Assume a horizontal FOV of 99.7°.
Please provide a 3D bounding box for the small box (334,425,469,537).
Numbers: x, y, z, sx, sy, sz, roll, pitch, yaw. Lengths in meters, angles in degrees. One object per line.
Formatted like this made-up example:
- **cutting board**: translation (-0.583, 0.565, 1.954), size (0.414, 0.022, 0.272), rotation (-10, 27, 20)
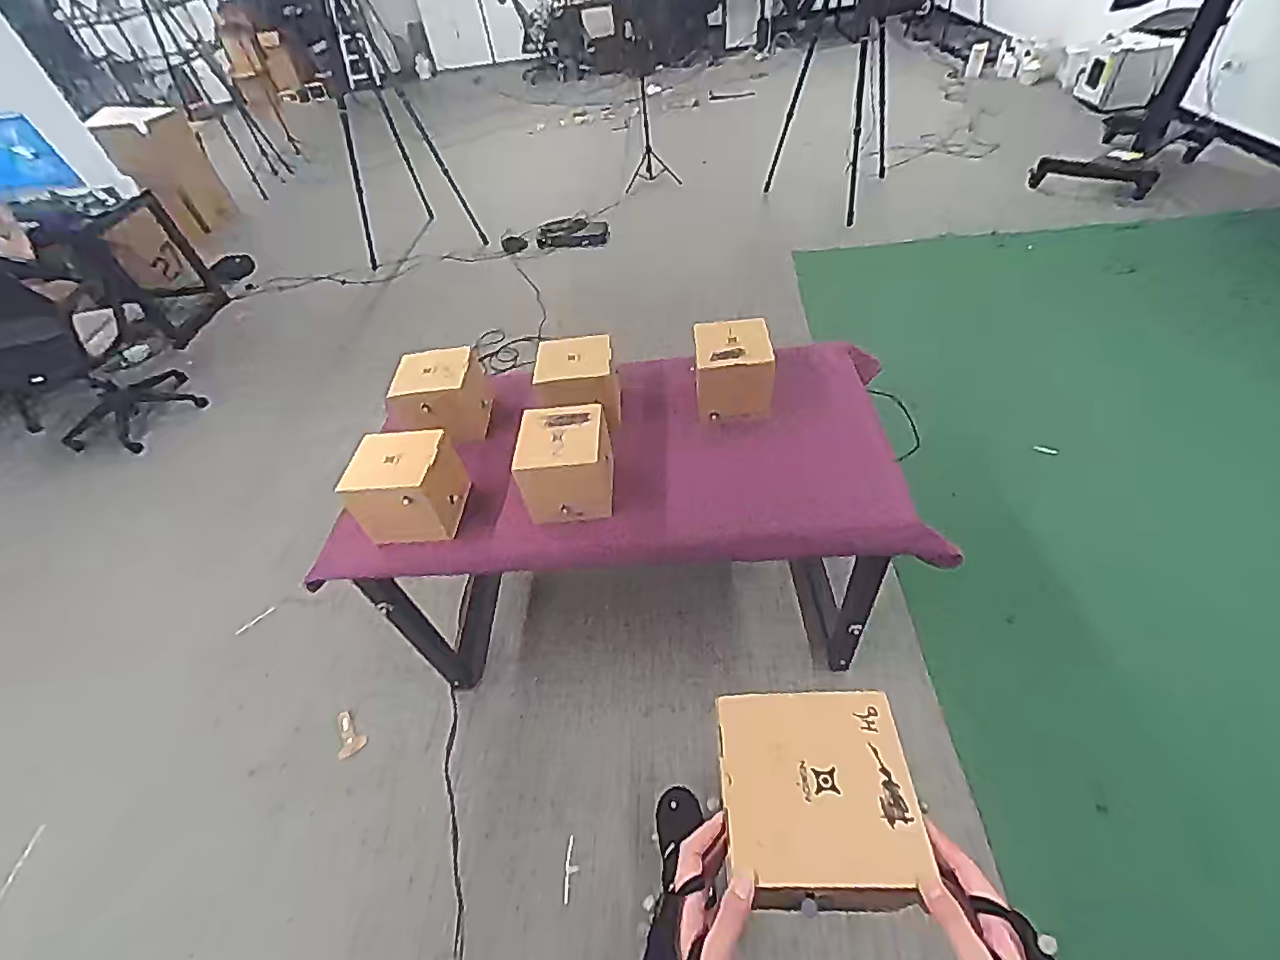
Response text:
- **small box**: translation (-0.480, 0.006, 1.119), size (0.179, 0.176, 0.168), rotation (-3, 46, 5)

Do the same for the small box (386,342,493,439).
- **small box**: translation (-0.476, -0.209, 1.314), size (0.179, 0.176, 0.168), rotation (-6, 48, 3)

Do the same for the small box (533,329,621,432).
- **small box**: translation (-0.140, -0.233, 1.285), size (0.179, 0.176, 0.168), rotation (-6, 47, 5)

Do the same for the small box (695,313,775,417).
- **small box**: translation (0.216, -0.259, 1.249), size (0.168, 0.176, 0.179), rotation (-4, 47, 6)
